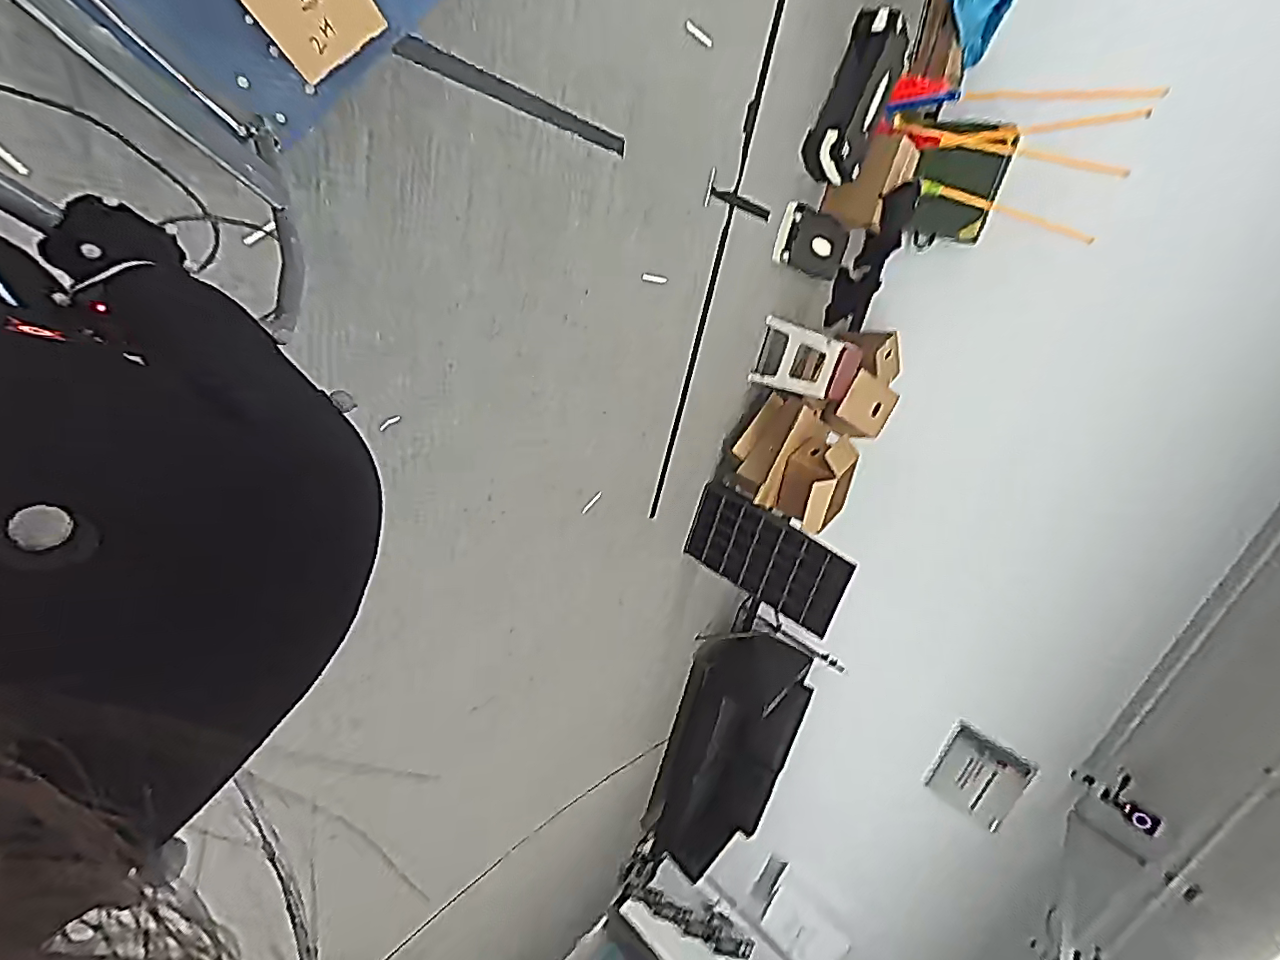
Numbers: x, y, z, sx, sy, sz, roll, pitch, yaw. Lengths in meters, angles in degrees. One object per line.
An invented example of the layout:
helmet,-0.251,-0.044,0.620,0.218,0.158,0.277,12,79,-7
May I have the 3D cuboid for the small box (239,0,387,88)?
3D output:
small box,-0.550,-0.785,0.867,0.168,0.176,0.179,-37,147,1
